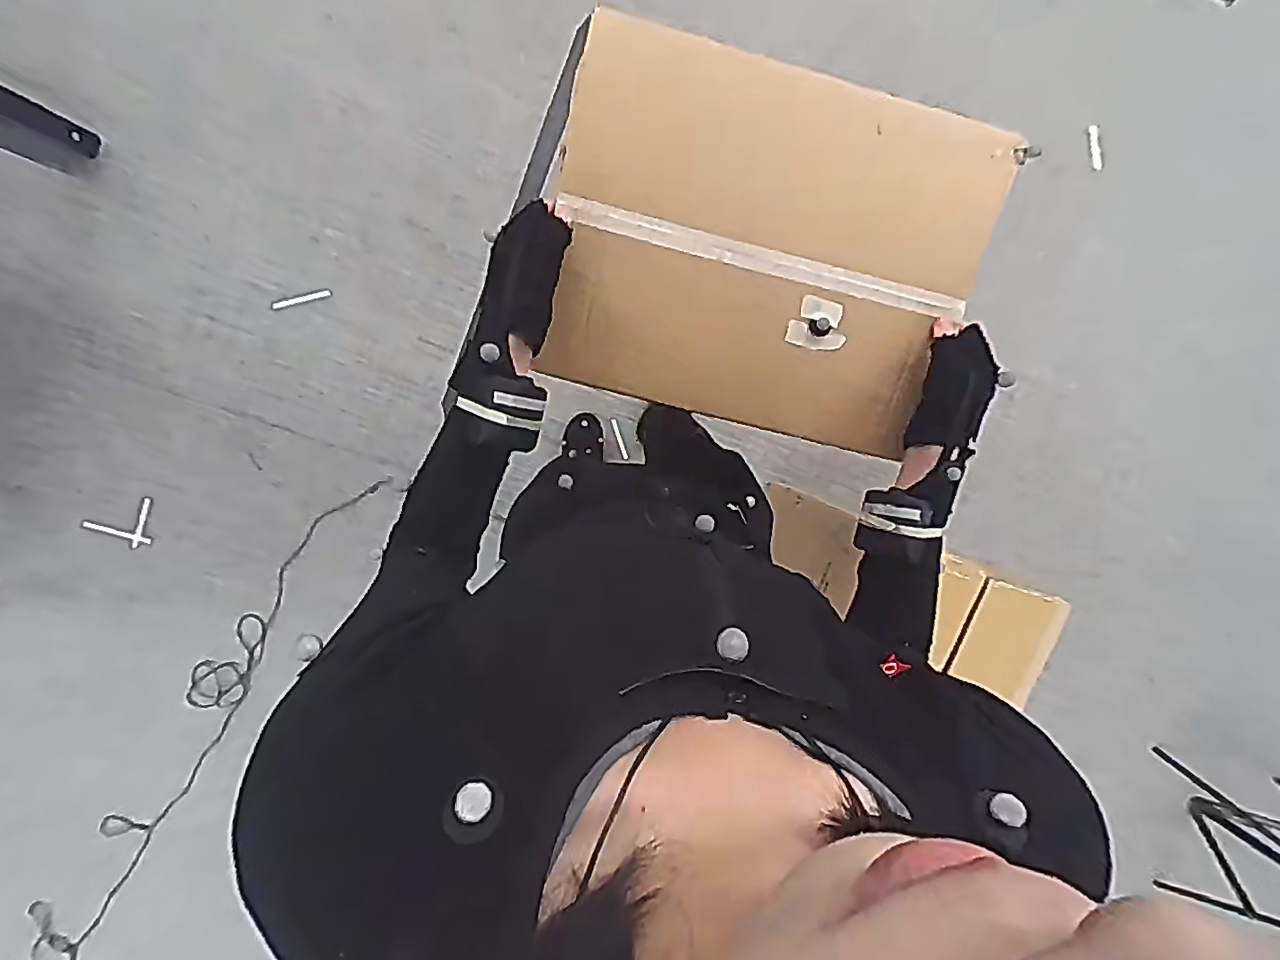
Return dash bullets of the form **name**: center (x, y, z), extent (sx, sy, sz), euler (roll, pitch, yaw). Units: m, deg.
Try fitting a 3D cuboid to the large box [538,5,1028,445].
- **large box**: center (0.118, -0.257, 0.648), extent (0.408, 0.320, 0.320), euler (13, 106, -5)
